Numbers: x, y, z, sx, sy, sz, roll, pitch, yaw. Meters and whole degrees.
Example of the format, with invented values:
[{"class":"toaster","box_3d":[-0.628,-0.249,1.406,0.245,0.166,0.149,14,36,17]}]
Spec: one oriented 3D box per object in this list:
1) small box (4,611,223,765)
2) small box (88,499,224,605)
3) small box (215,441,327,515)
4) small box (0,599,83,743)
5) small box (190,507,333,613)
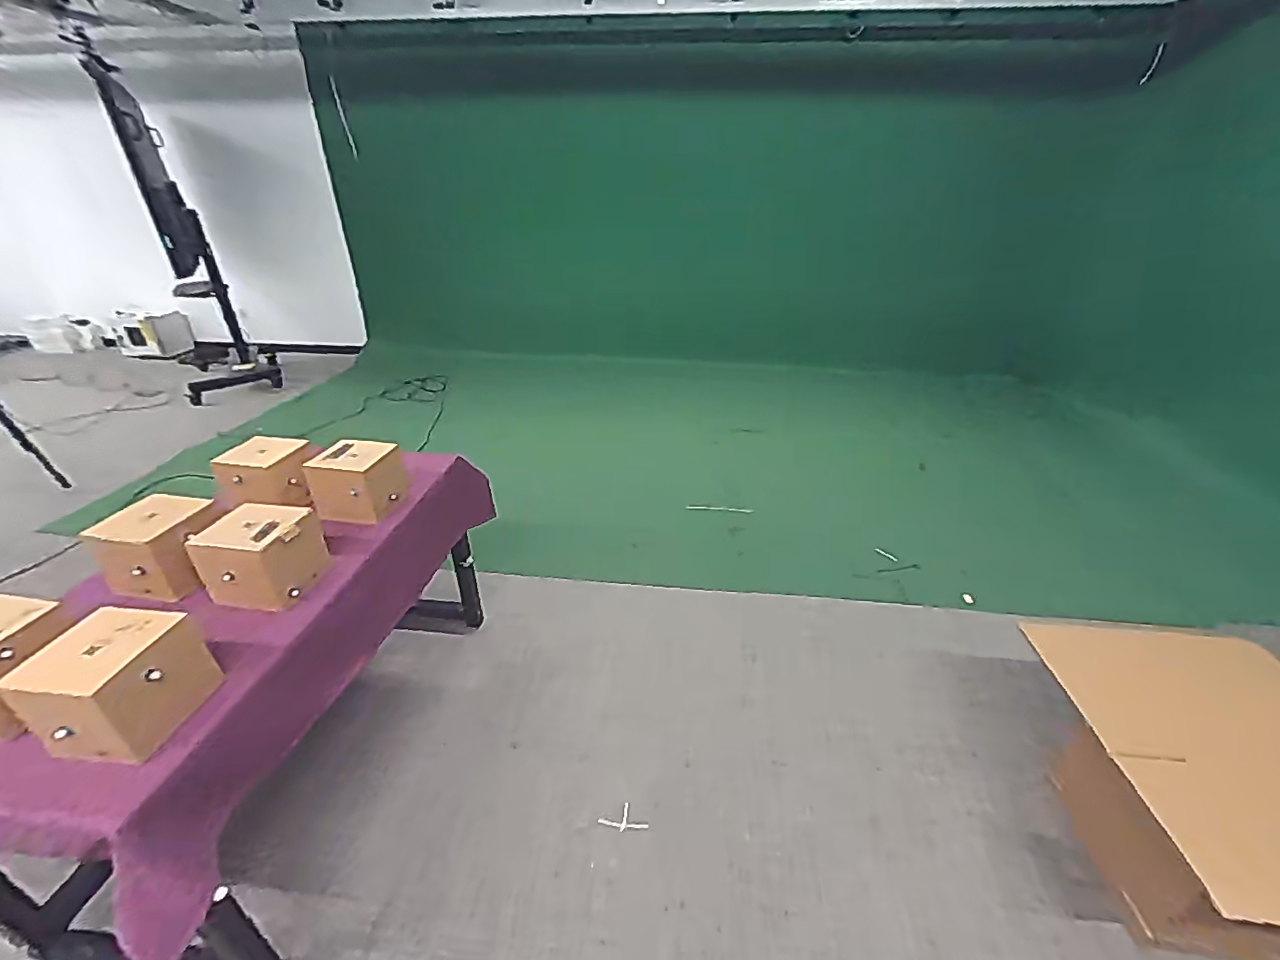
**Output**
[{"class":"small box","box_3d":[-0.861,0.348,0.909,0.168,0.176,0.179,3,29,6]},{"class":"small box","box_3d":[-1.078,0.165,1.245,0.168,0.176,0.179,5,29,9]},{"class":"small box","box_3d":[-1.030,0.005,1.528,0.179,0.176,0.168,4,30,10]},{"class":"small box","box_3d":[-1.116,0.331,0.944,0.179,0.176,0.168,3,29,8]},{"class":"small box","box_3d":[-0.831,0.180,1.211,0.179,0.176,0.168,3,29,9]}]
